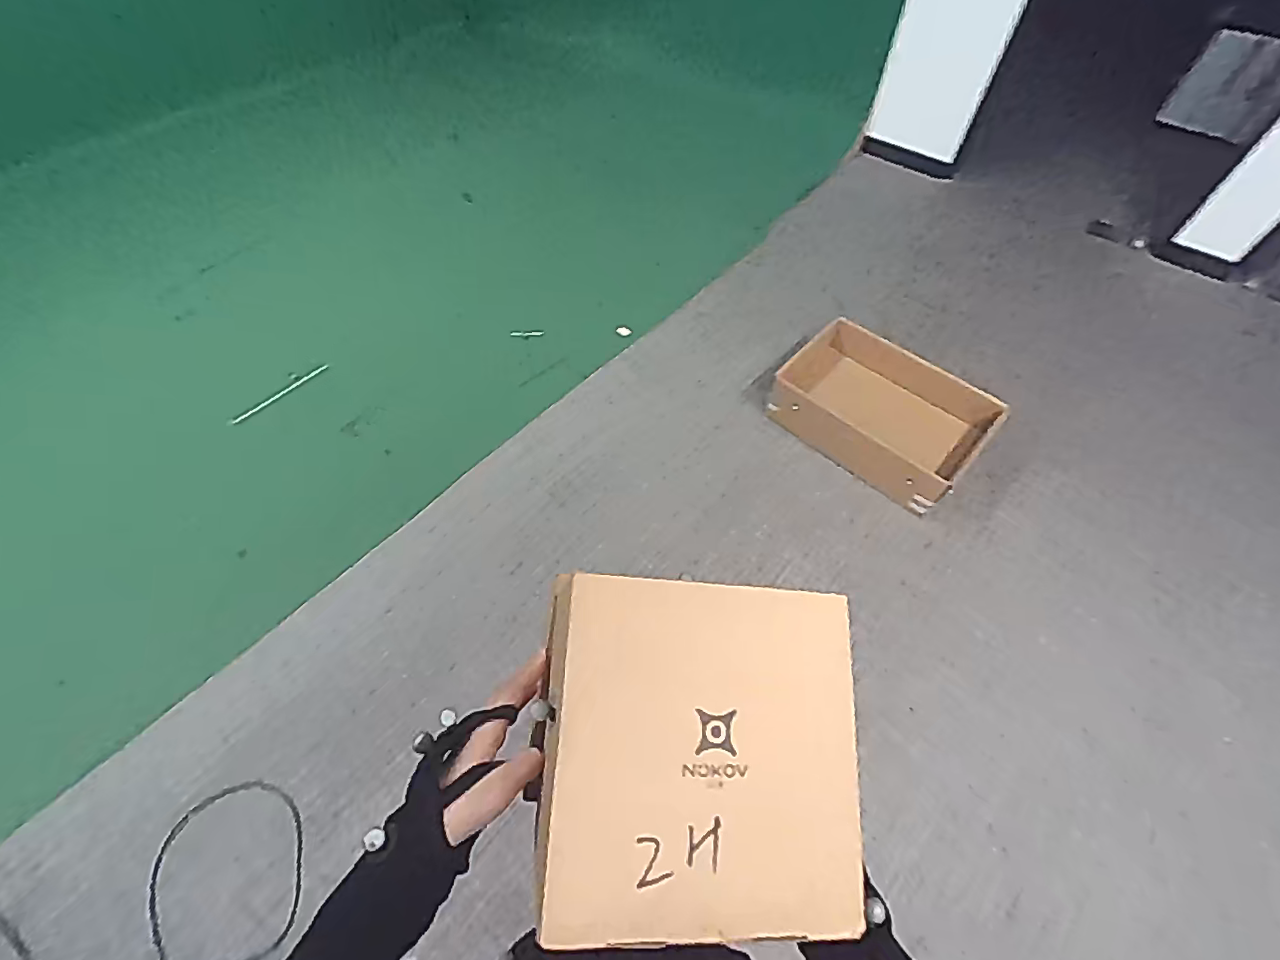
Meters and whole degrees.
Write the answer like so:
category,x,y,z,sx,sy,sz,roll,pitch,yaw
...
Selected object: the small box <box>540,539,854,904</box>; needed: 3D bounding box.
category,x,y,z,sx,sy,sz,roll,pitch,yaw
small box,0.024,0.149,0.370,0.168,0.176,0.179,8,73,-8
